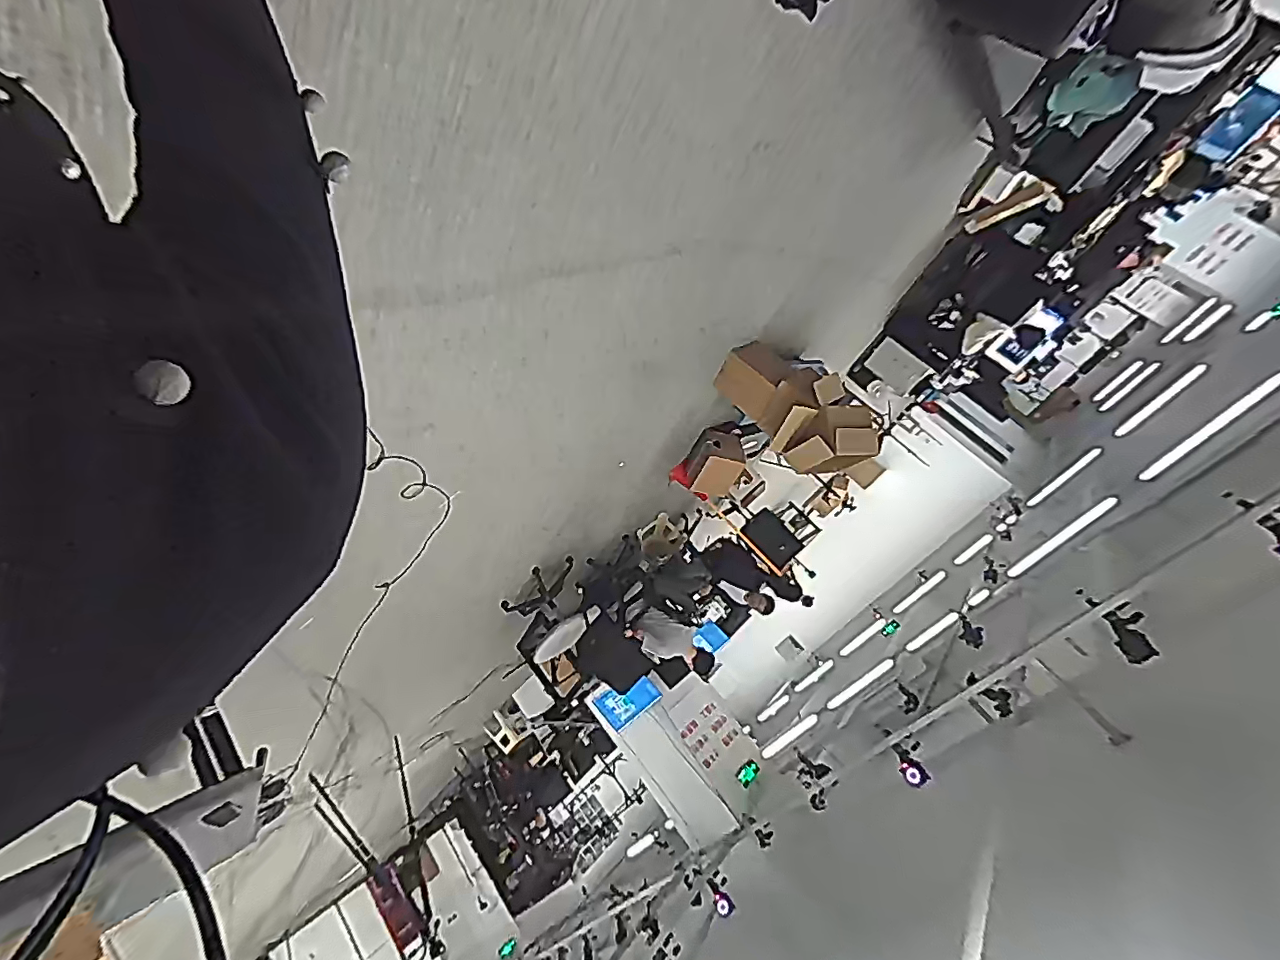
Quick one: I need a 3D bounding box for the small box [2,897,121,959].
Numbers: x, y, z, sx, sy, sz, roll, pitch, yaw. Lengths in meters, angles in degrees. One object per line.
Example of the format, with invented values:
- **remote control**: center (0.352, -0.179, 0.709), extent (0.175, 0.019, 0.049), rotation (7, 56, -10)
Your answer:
- **small box**: center (-1.515, 1.255, 1.421), extent (0.179, 0.176, 0.168), rotation (-19, 149, -50)
